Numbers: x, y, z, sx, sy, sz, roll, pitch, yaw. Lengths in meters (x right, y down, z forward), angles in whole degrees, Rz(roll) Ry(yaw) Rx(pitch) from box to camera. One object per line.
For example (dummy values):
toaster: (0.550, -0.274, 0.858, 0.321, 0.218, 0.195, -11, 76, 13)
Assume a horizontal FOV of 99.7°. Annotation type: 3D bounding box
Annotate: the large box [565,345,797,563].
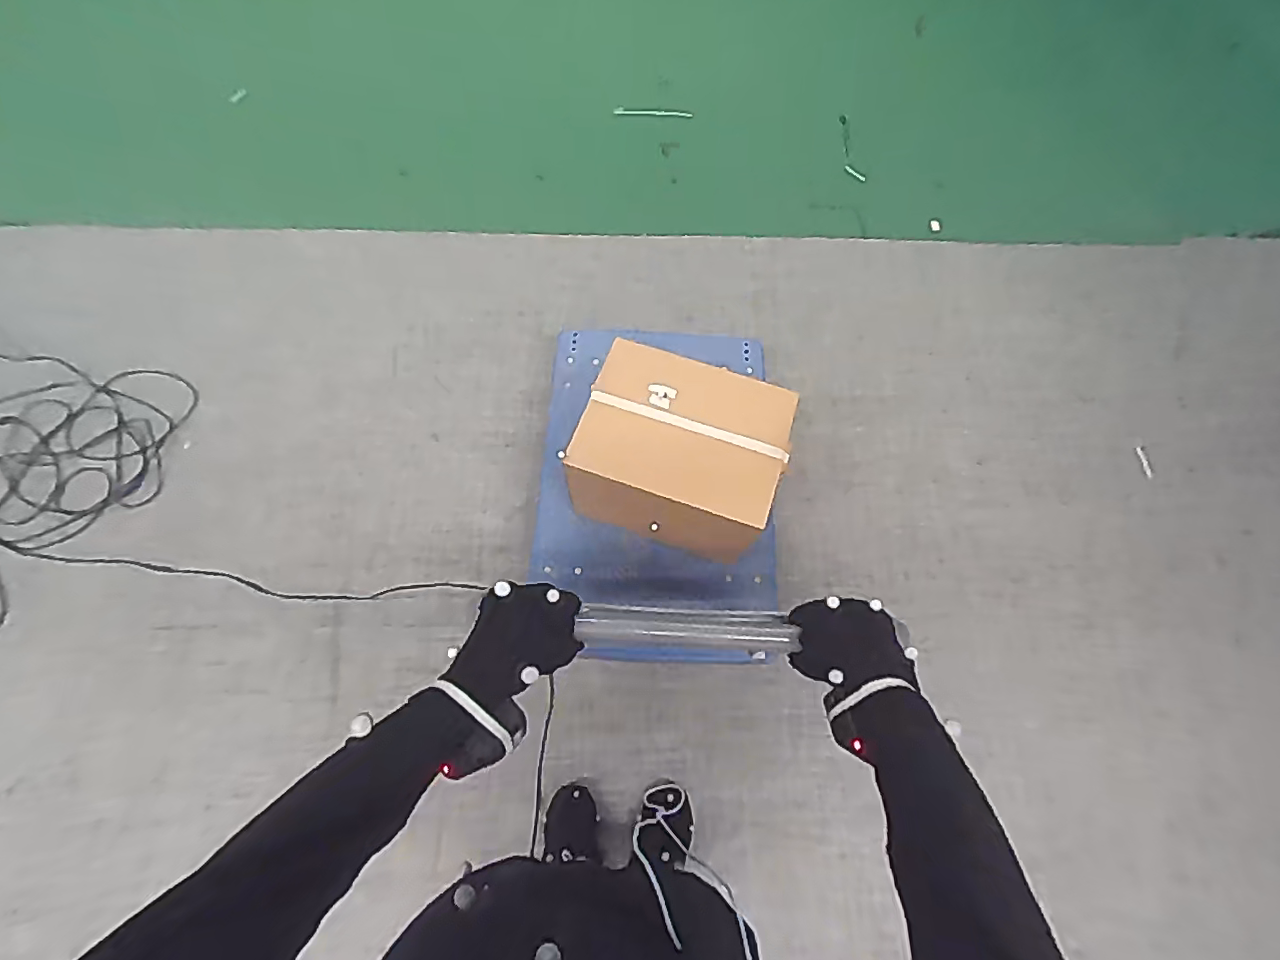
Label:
large box: (0.090, -0.043, 1.205, 0.408, 0.320, 0.320, 17, 68, 7)
